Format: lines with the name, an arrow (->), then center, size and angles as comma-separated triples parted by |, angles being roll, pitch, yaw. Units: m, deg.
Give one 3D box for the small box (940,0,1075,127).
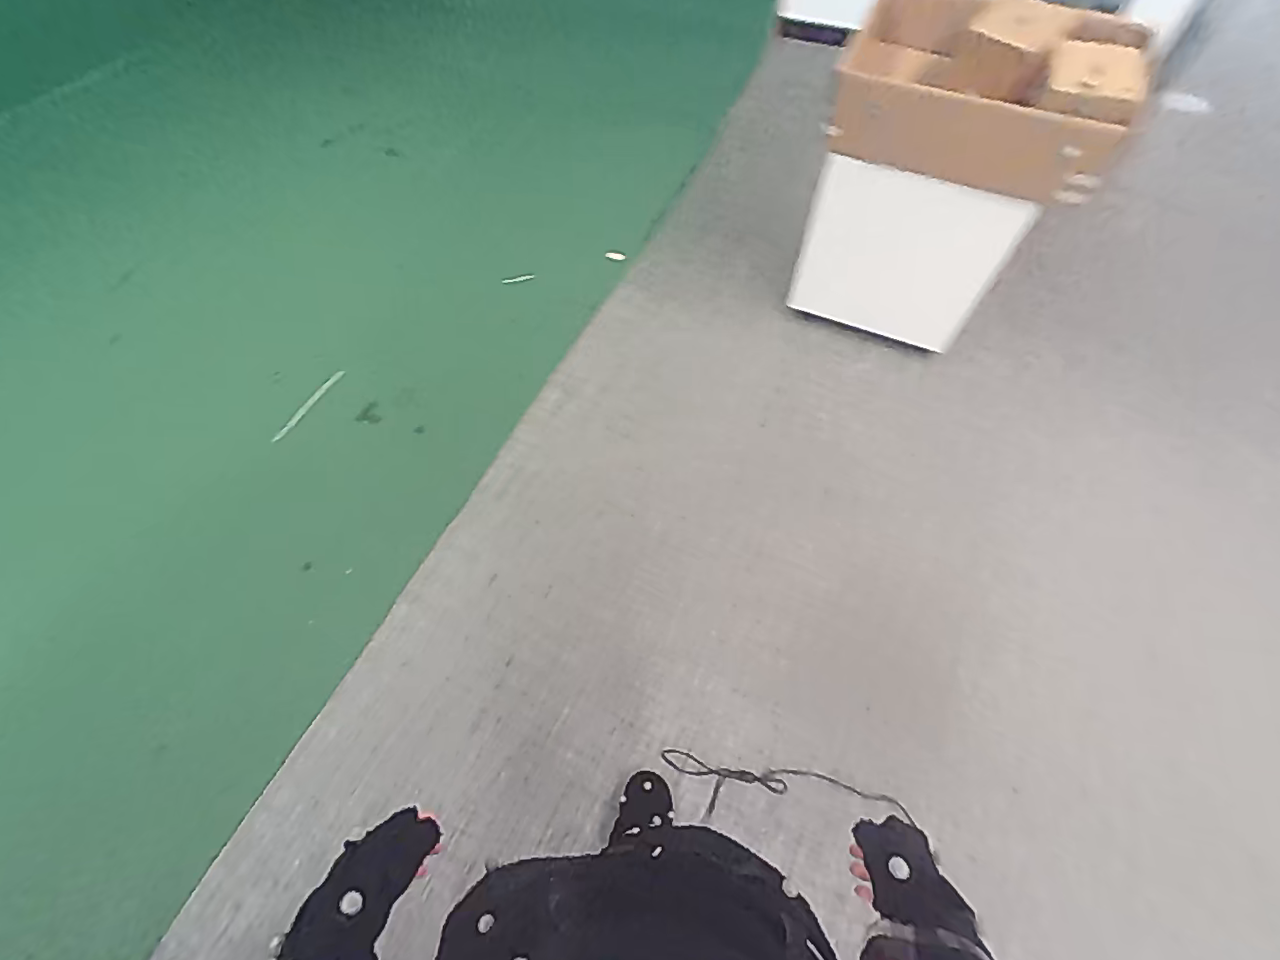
small box -> 0.850, -0.982, 1.272 | 0.179, 0.176, 0.168 | -43, 69, -12
